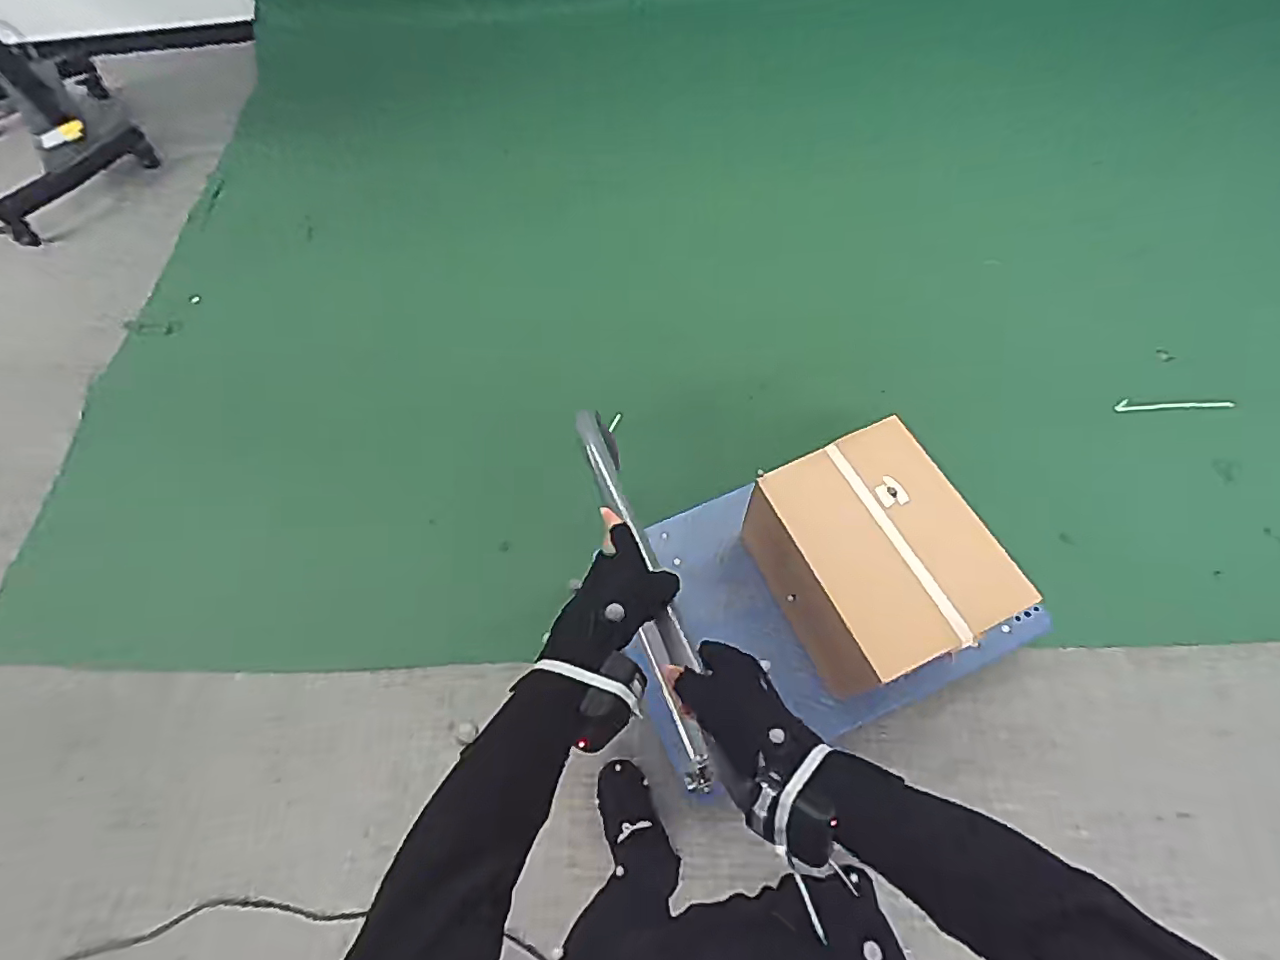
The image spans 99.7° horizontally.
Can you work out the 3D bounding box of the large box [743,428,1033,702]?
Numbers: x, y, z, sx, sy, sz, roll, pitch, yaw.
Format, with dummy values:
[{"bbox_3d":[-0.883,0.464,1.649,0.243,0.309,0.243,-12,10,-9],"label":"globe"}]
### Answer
[{"bbox_3d":[0.450,0.180,1.097,0.320,0.320,0.408,-24,63,-8],"label":"large box"}]
